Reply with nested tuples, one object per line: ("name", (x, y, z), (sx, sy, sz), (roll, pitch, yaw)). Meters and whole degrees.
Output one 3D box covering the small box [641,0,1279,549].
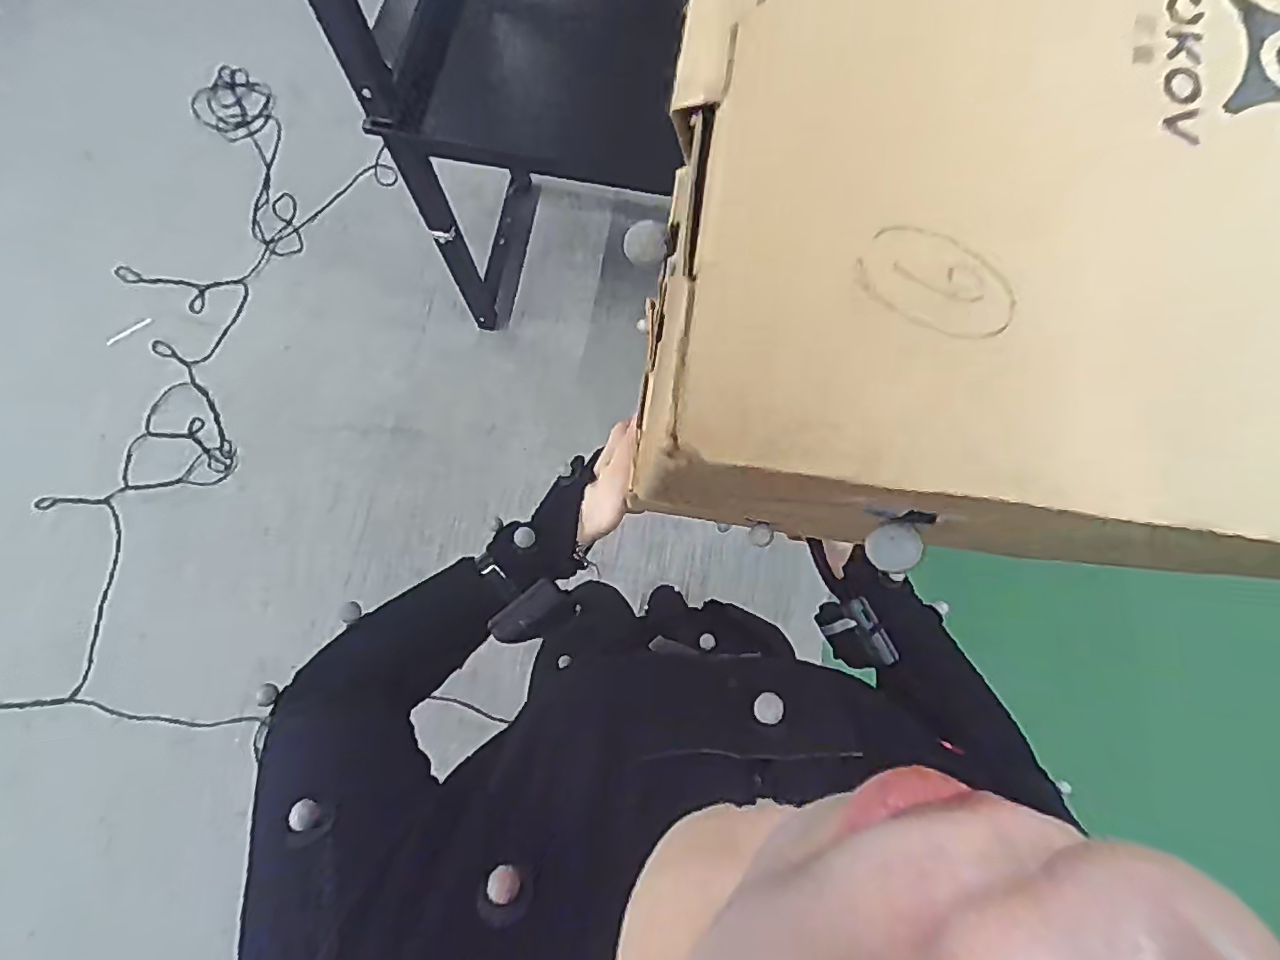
("small box", (0.097, -0.069, 0.175), (0.179, 0.176, 0.168), (8, 85, 0))
